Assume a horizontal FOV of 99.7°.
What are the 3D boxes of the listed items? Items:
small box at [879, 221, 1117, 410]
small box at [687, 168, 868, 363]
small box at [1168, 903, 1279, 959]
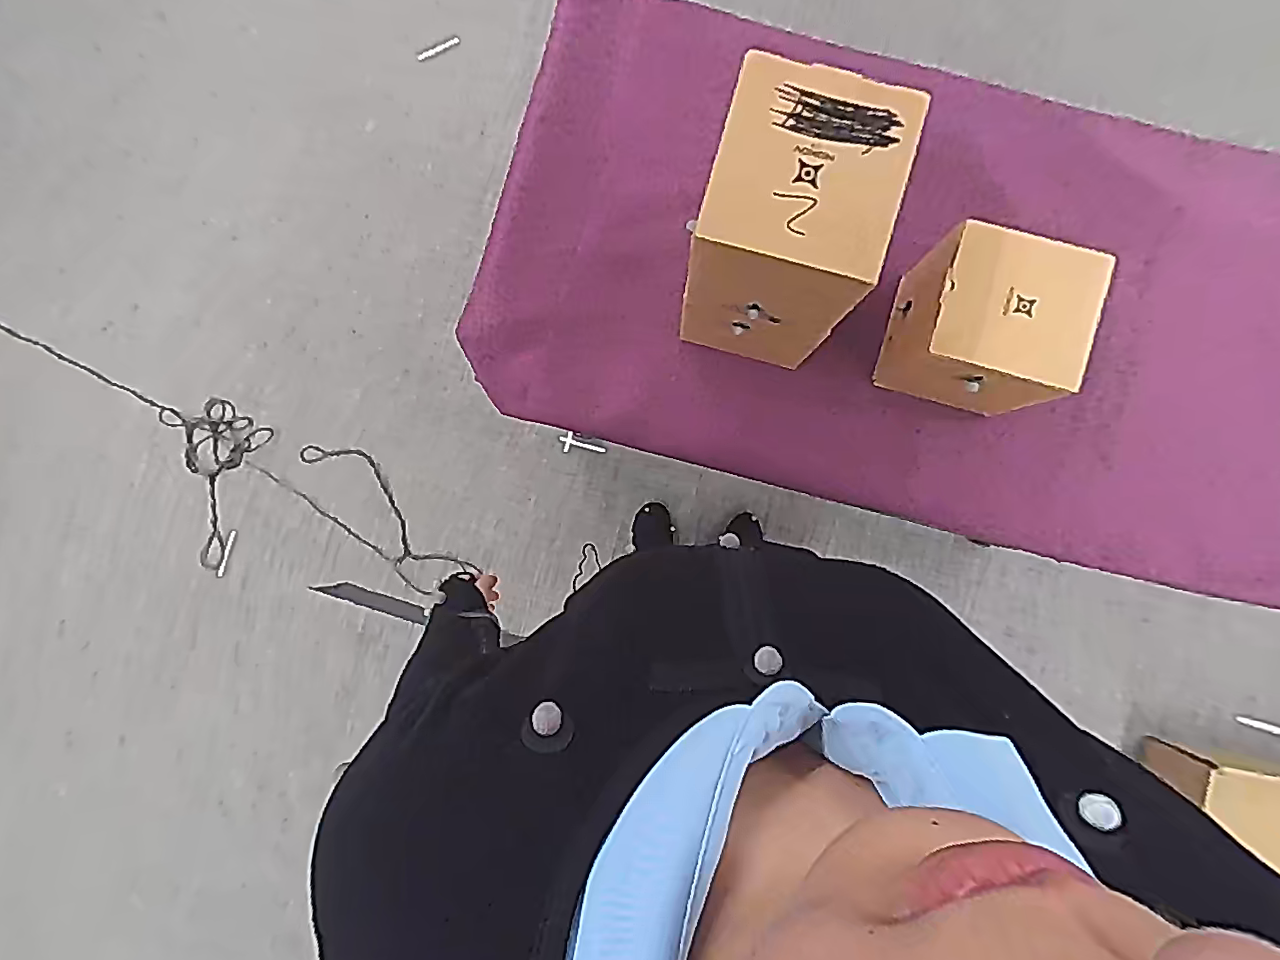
[{"bbox_3d":[0.443,-0.197,0.698,0.179,0.176,0.168,17,89,5],"label":"small box"},{"bbox_3d":[0.166,-0.267,0.714,0.179,0.176,0.168,16,89,3],"label":"small box"},{"bbox_3d":[1.411,1.147,1.269,0.179,0.176,0.168,13,89,2],"label":"small box"}]
